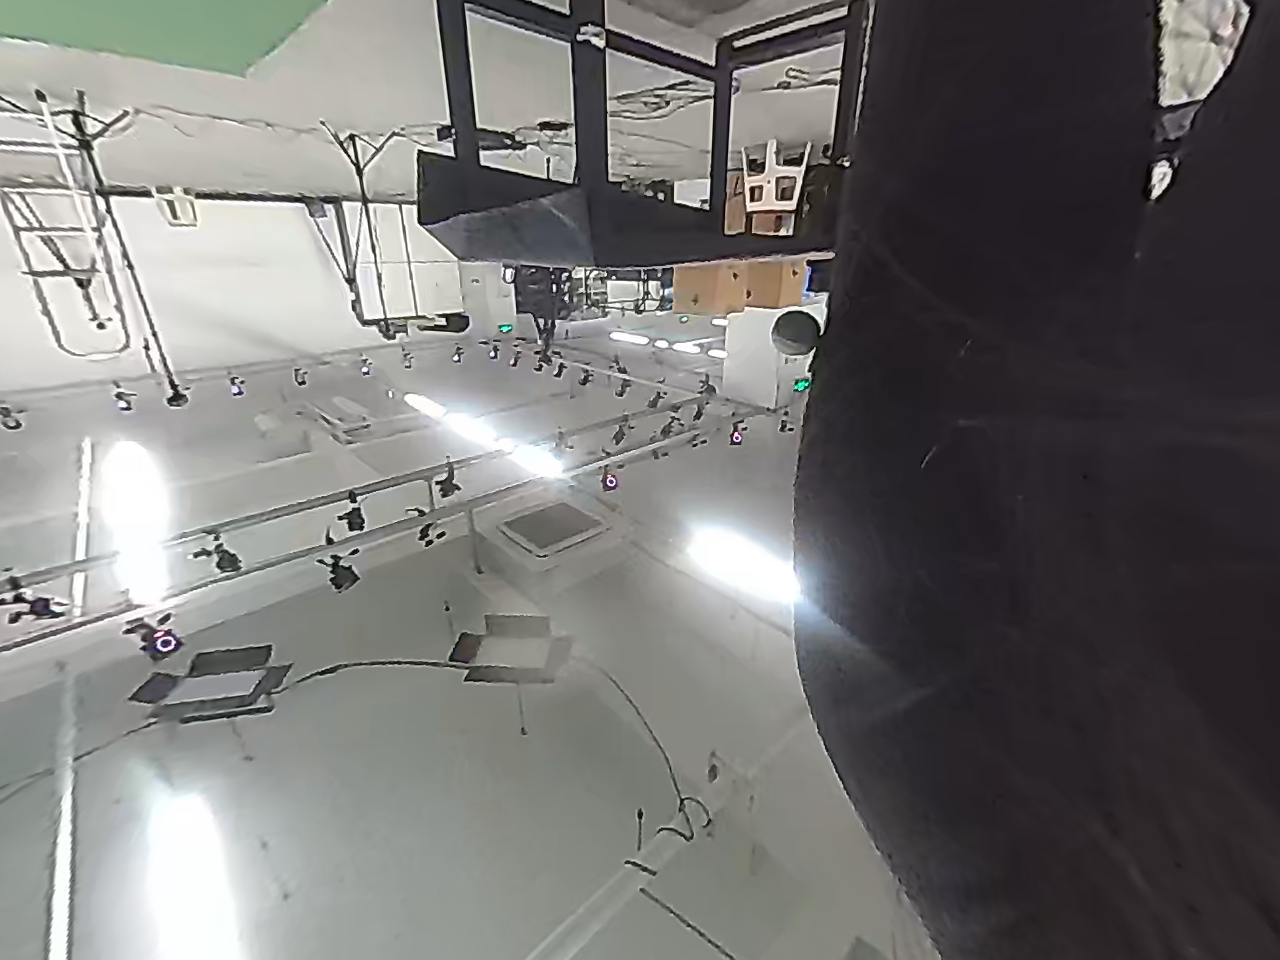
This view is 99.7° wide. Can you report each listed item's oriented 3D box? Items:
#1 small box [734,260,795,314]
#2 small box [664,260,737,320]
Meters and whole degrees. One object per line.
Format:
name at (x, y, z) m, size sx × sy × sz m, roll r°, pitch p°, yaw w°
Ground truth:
small box at (0.436, -0.695, 1.933) m, size 0.179 × 0.176 × 0.168 m, roll 19°, pitch -150°, yaw 38°
small box at (0.195, -0.608, 1.722) m, size 0.179 × 0.176 × 0.168 m, roll 19°, pitch -150°, yaw 39°
